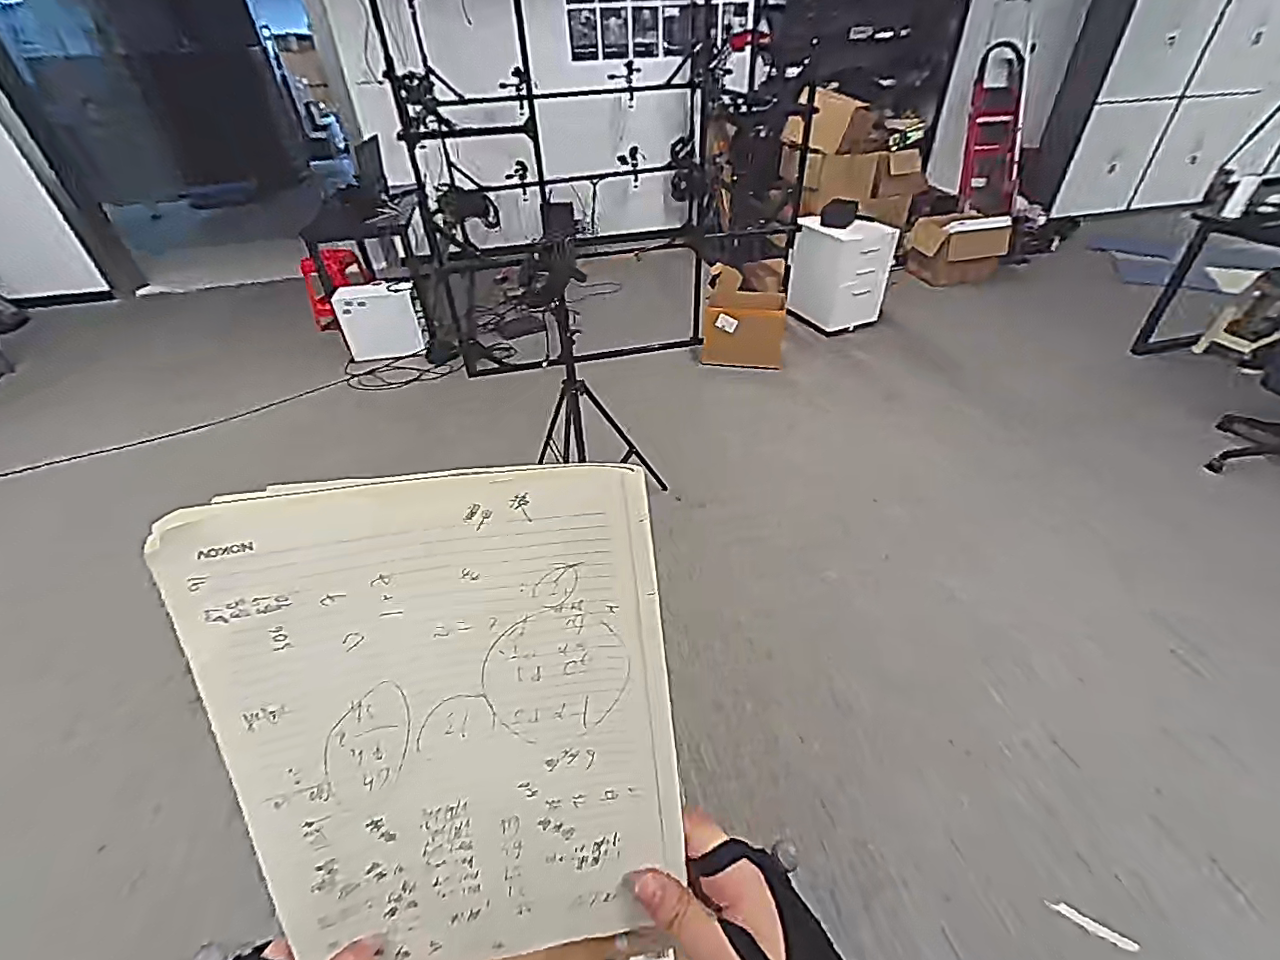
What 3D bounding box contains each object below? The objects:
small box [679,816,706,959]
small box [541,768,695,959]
[{"bbox_3d":[-0.014,0.616,0.788,0.179,0.176,0.168,-7,40,-8],"label":"small box"},{"bbox_3d":[-0.032,0.493,0.678,0.168,0.176,0.179,-4,41,-6],"label":"small box"}]
